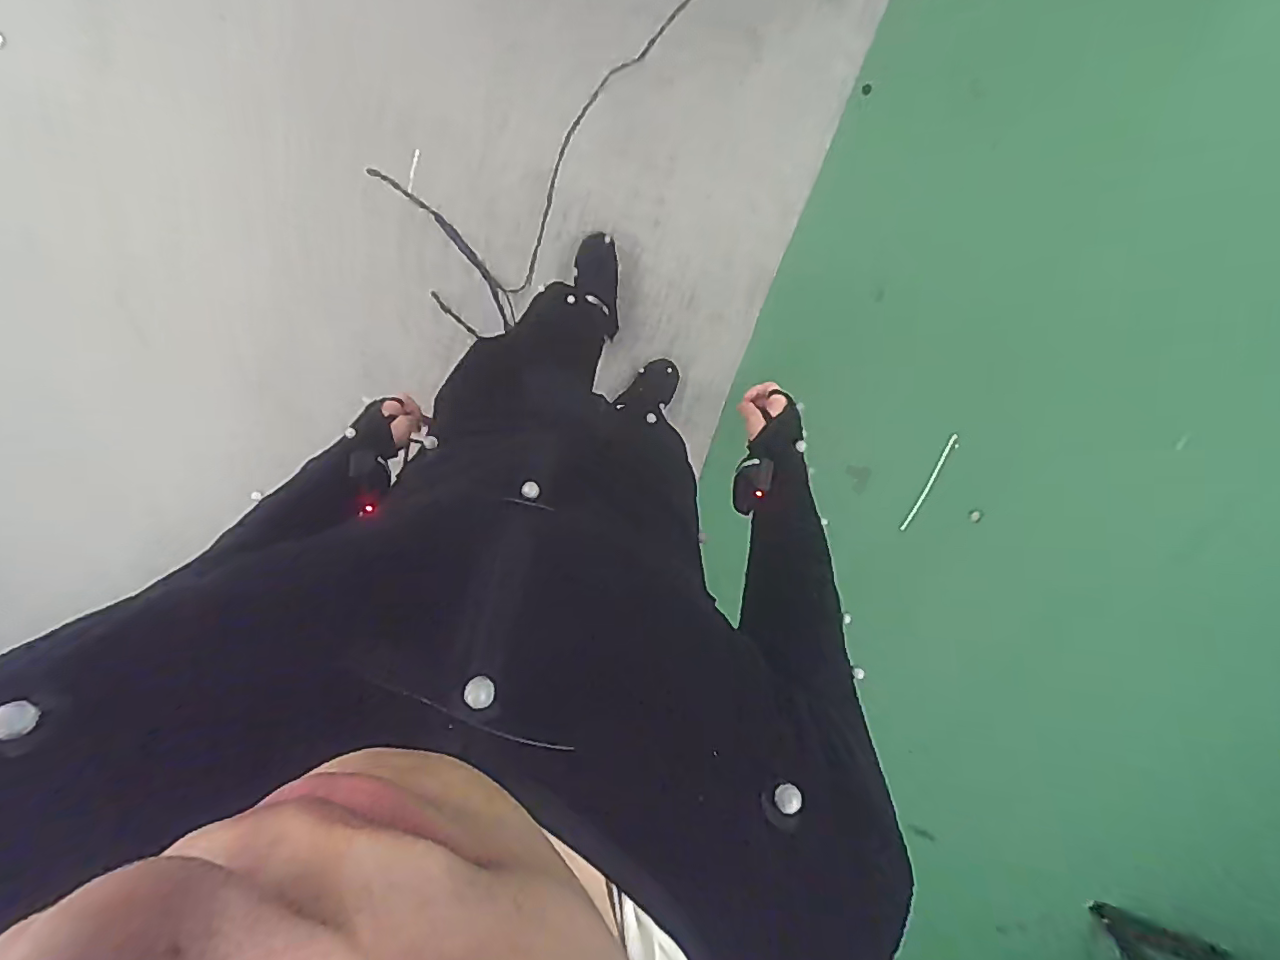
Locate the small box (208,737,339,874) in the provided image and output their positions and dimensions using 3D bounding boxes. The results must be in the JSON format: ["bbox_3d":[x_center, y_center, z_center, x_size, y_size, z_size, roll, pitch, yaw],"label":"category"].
[{"bbox_3d":[-0.823,0.733,1.227,0.168,0.176,0.179,26,107,-5],"label":"small box"}]
